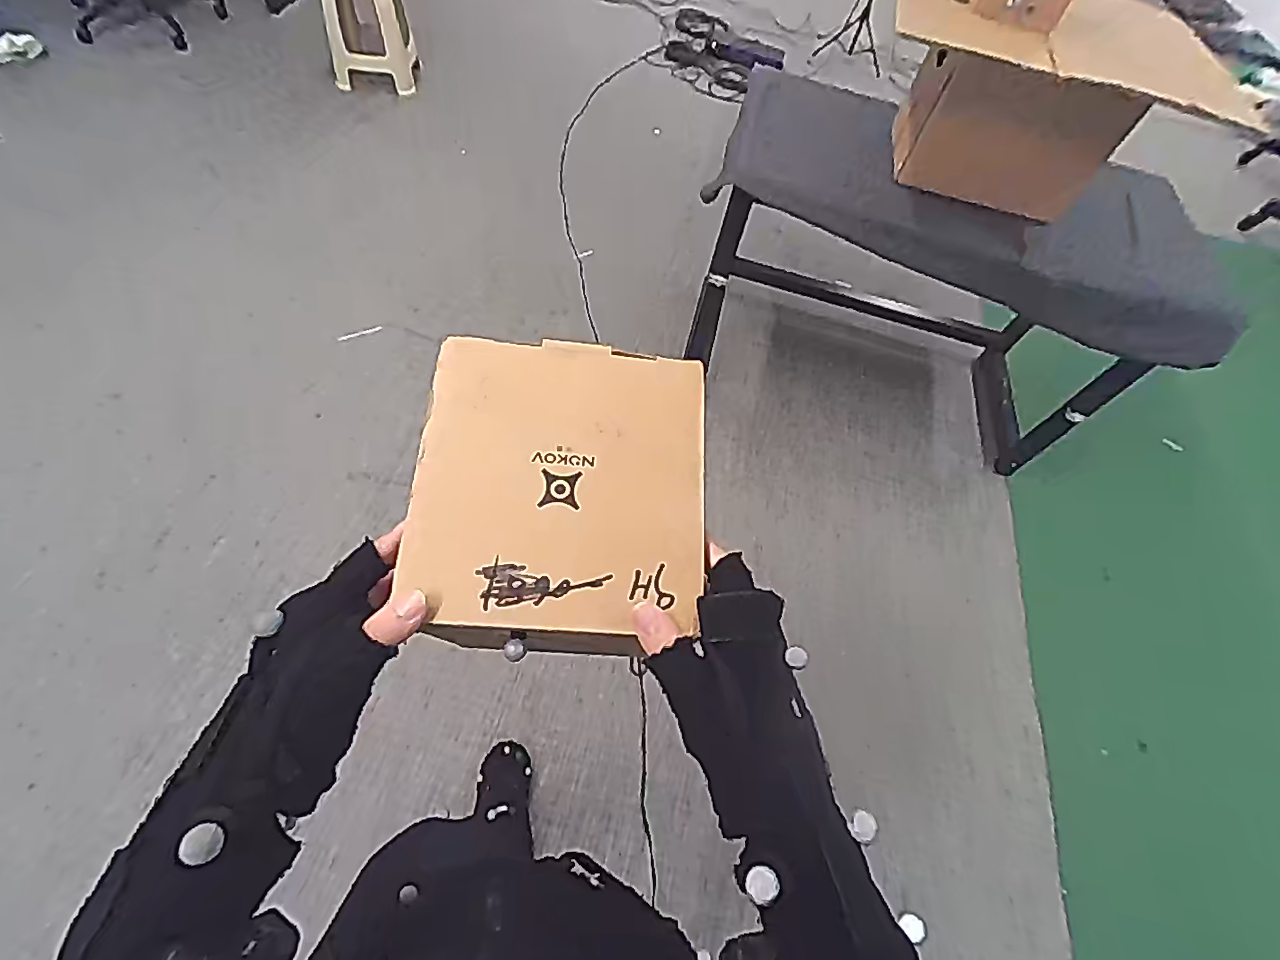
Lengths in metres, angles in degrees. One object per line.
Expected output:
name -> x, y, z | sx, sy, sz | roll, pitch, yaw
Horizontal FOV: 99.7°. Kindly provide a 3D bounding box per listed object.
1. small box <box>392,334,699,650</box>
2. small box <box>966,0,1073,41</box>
small box -> -0.055, 0.022, 0.396 | 0.168, 0.176, 0.179 | 5, 68, -4
small box -> 0.759, -0.999, 1.047 | 0.168, 0.176, 0.179 | 16, 60, 2
